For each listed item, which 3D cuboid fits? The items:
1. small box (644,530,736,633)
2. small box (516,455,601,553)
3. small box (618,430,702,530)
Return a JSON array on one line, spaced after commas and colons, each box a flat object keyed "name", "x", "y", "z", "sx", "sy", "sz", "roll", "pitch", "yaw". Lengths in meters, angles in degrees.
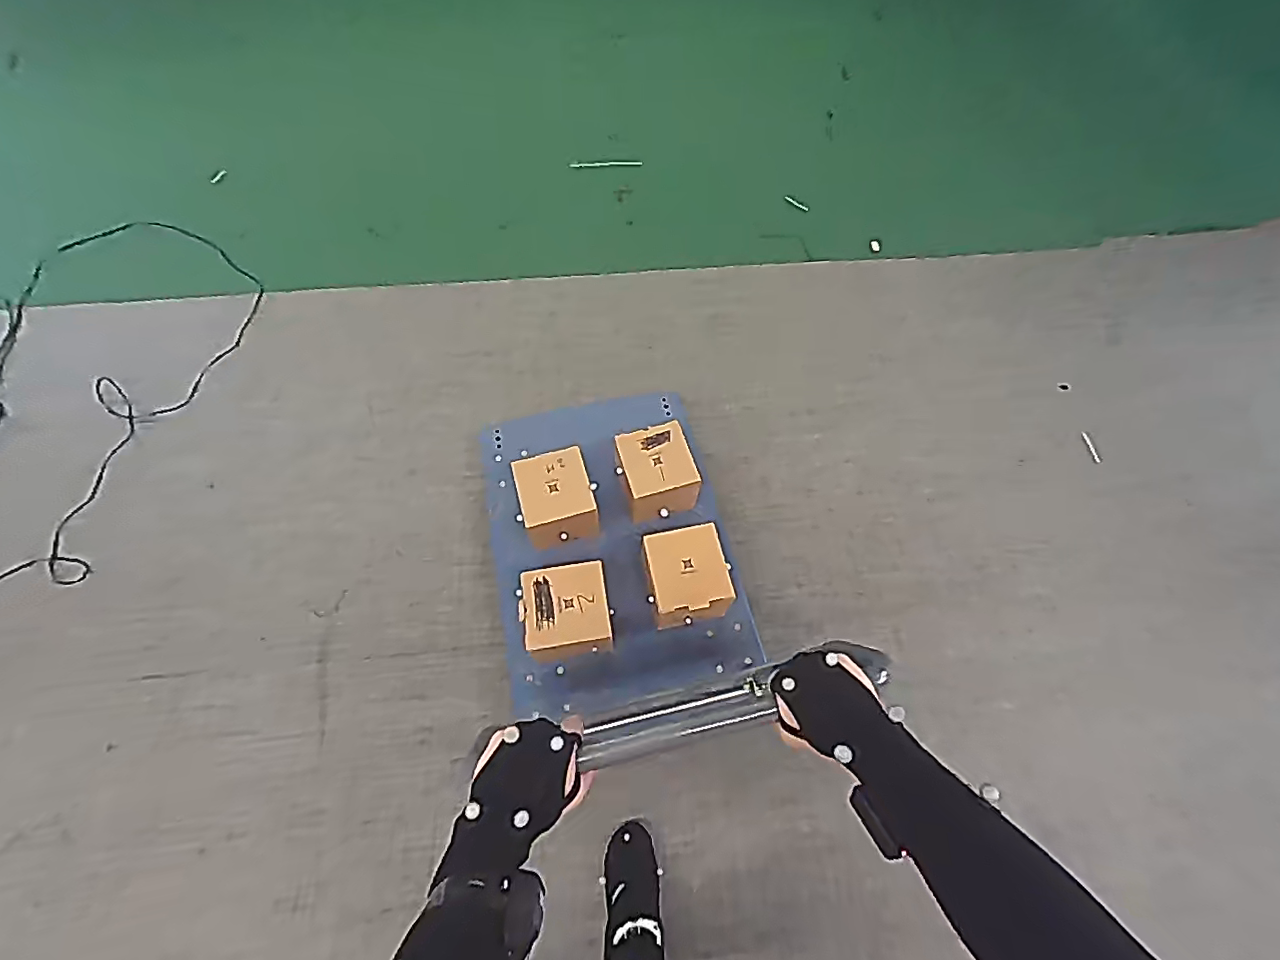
[{"name": "small box", "x": 0.107, "y": 0.239, "z": 1.253, "sx": 0.168, "sy": 0.176, "sz": 0.179, "roll": -11, "pitch": 64, "yaw": -7}, {"name": "small box", "x": -0.196, "y": 0.068, "z": 1.334, "sx": 0.168, "sy": 0.176, "sz": 0.179, "roll": -14, "pitch": 64, "yaw": -9}, {"name": "small box", "x": 0.044, "y": 0.003, "z": 1.371, "sx": 0.168, "sy": 0.176, "sz": 0.179, "roll": -15, "pitch": 65, "yaw": -7}]
